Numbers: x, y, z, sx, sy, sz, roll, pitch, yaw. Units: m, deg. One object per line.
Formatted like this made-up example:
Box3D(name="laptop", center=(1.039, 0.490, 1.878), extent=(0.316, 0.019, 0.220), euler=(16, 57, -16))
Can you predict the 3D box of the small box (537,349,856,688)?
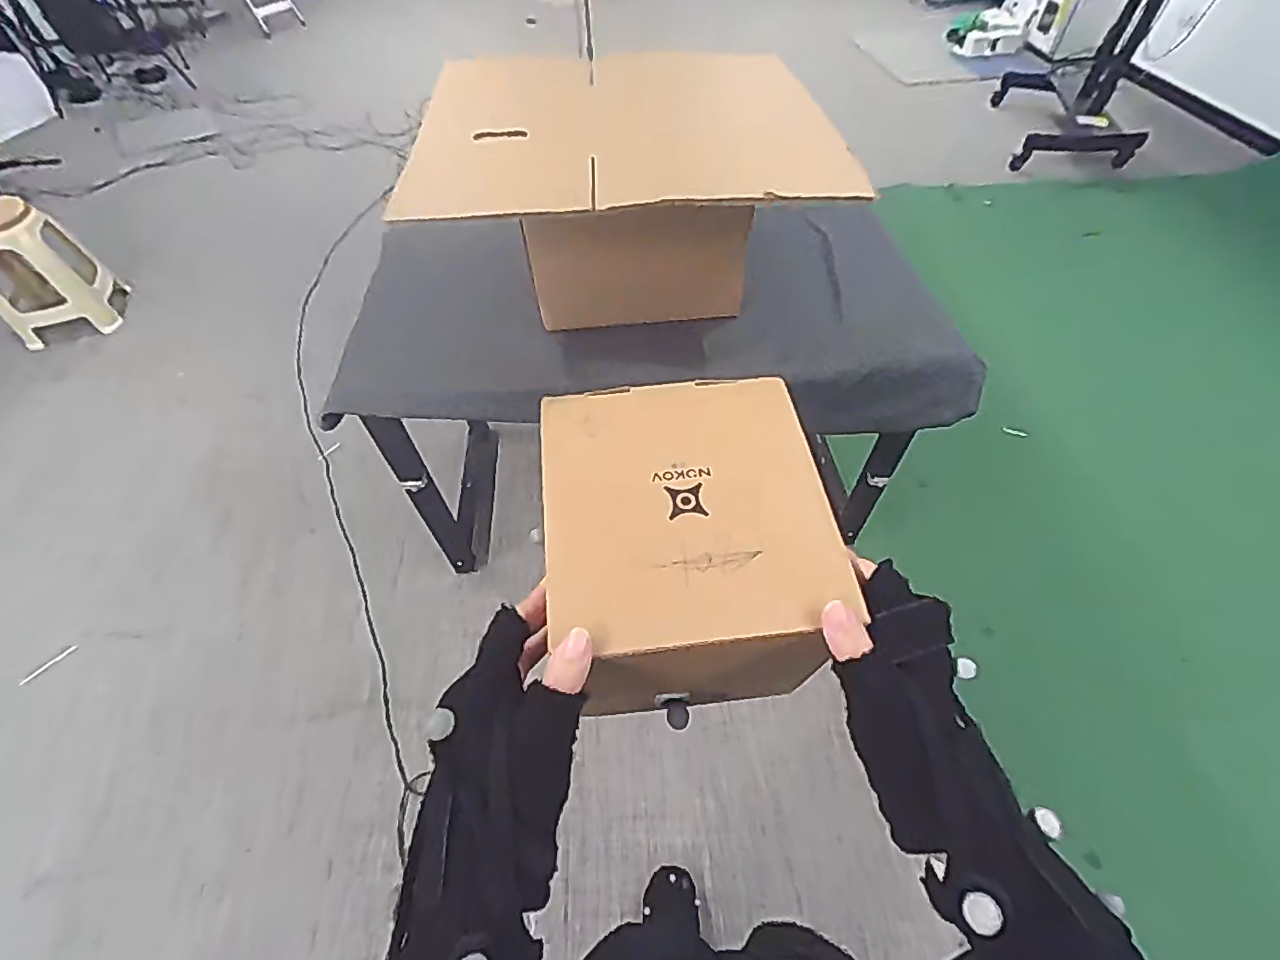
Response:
Box3D(name="small box", center=(0.020, 0.032, 0.382), extent=(0.168, 0.176, 0.179), euler=(-5, 58, -4))
